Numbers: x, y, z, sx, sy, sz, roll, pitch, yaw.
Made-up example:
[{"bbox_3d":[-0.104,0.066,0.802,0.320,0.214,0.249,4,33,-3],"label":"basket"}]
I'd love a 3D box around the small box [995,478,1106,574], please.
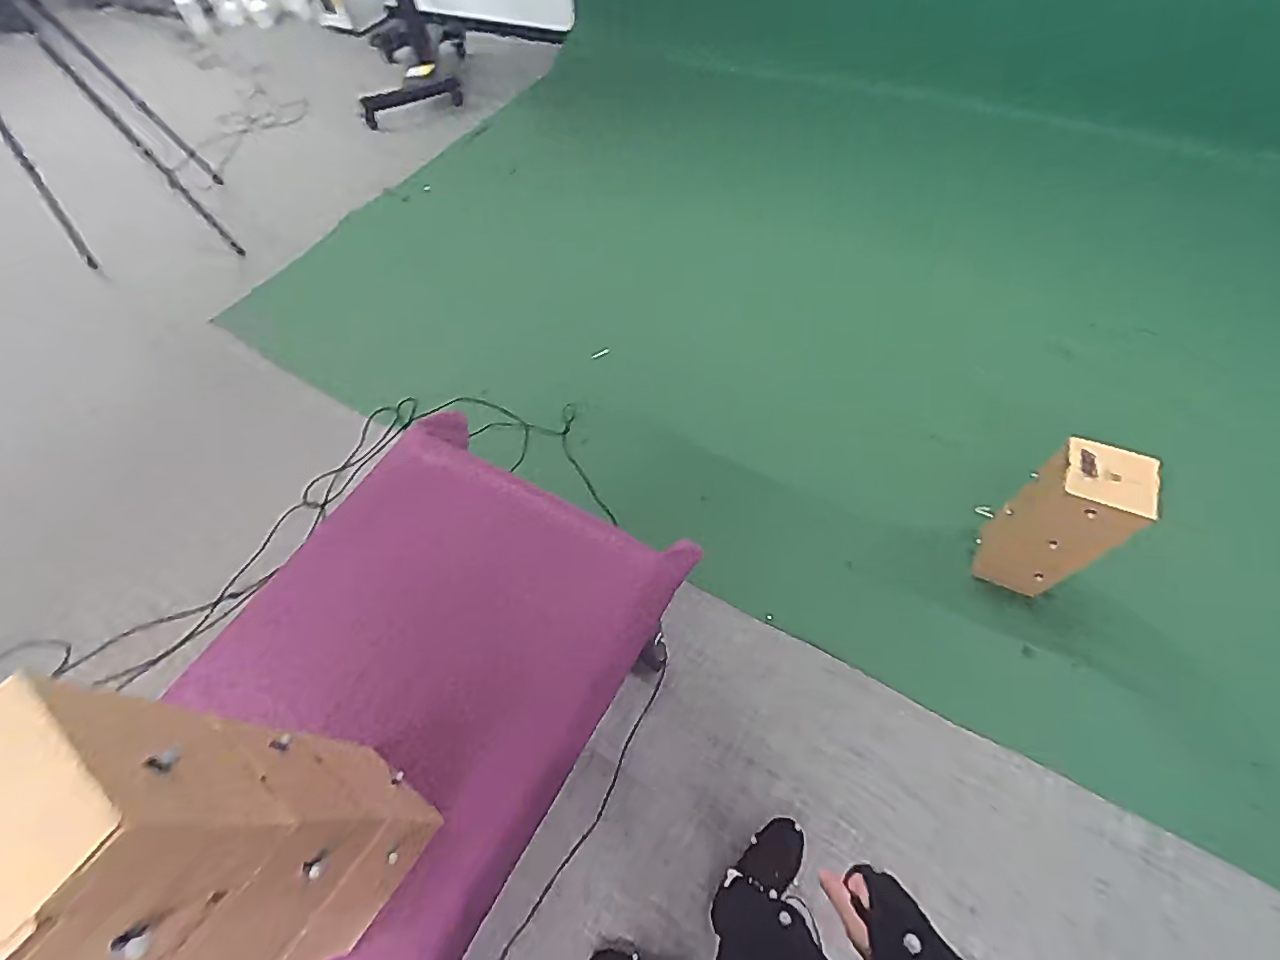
[{"bbox_3d":[1.065,0.122,1.399,0.179,0.176,0.168,22,63,19],"label":"small box"}]

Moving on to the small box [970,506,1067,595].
[{"bbox_3d":[1.079,0.207,1.536,0.179,0.176,0.168,21,62,18],"label":"small box"}]

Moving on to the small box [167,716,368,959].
[{"bbox_3d":[-0.410,0.373,0.543,0.168,0.176,0.179,28,65,22],"label":"small box"}]

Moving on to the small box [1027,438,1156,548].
[{"bbox_3d":[1.044,0.035,1.262,0.179,0.176,0.168,21,63,17],"label":"small box"}]

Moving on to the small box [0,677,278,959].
[{"bbox_3d":[-0.431,0.283,0.409,0.179,0.176,0.168,28,64,22],"label":"small box"}]
